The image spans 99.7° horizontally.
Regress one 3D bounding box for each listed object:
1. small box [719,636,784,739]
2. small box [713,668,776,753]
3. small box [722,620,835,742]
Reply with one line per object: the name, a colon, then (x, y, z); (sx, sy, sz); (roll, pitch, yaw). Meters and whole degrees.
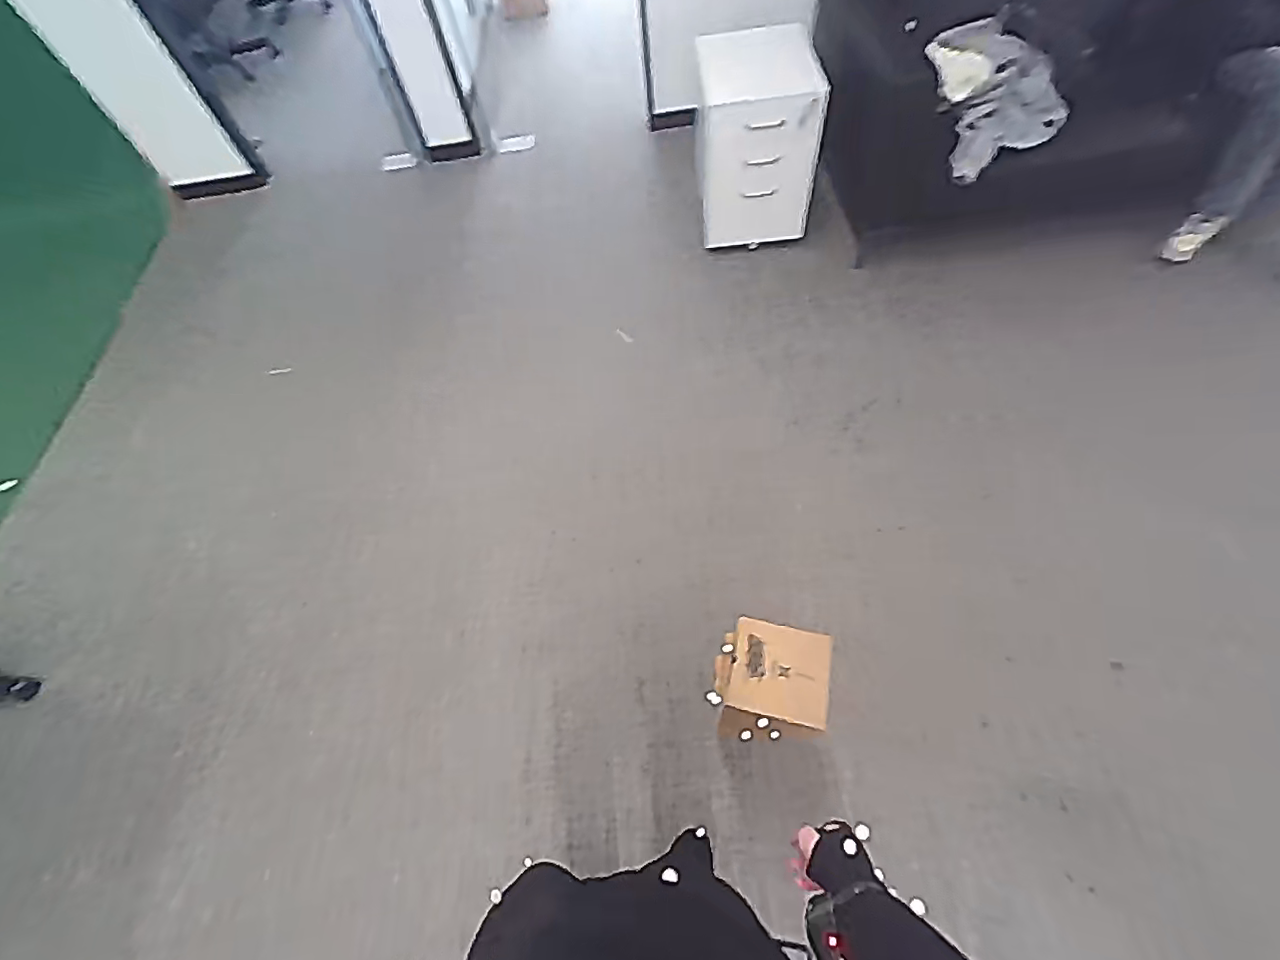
small box: (0.267, 0.465, 1.202); (0.168, 0.176, 0.179); (5, 58, 8)
small box: (0.289, 0.544, 1.334); (0.168, 0.176, 0.179); (-25, 57, -11)
small box: (0.261, 0.395, 1.050); (0.179, 0.176, 0.168); (14, 63, 14)
